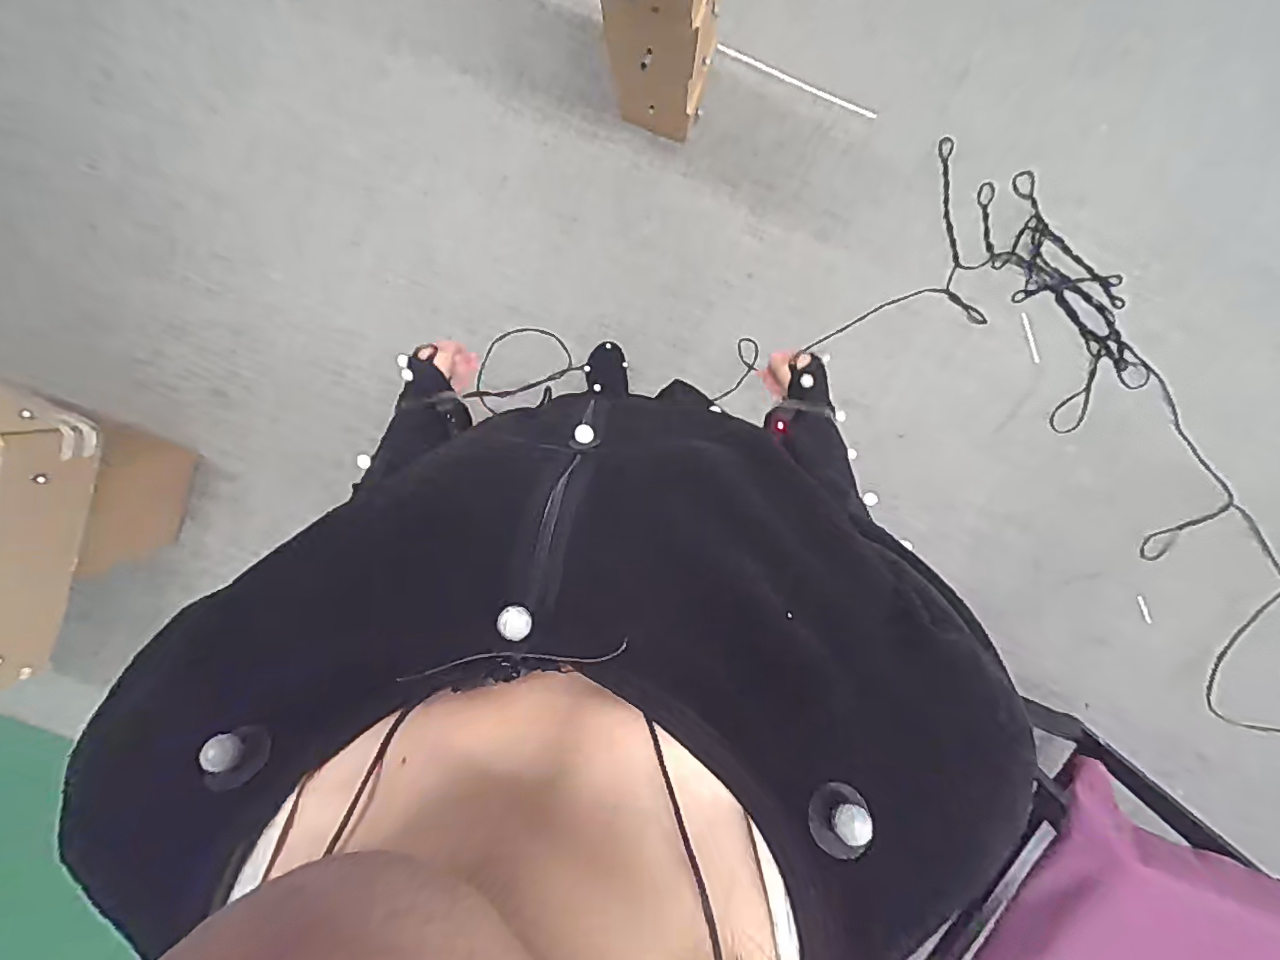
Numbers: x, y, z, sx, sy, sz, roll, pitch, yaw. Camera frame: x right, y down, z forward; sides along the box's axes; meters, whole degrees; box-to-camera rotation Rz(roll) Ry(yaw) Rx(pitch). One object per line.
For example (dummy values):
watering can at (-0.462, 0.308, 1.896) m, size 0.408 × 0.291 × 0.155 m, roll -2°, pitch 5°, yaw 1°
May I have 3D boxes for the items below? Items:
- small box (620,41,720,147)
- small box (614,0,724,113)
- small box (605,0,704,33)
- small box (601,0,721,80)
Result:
small box at (0.065, -0.908, 1.247) m, size 0.179 × 0.176 × 0.168 m, roll 21°, pitch 101°, yaw -3°
small box at (0.052, -0.881, 1.086) m, size 0.179 × 0.176 × 0.168 m, roll 22°, pitch 102°, yaw -2°
small box at (0.034, -0.803, 0.770) m, size 0.168 × 0.176 × 0.179 m, roll 19°, pitch 102°, yaw -2°
small box at (0.046, -0.835, 0.929) m, size 0.179 × 0.176 × 0.168 m, roll 19°, pitch 101°, yaw -3°
